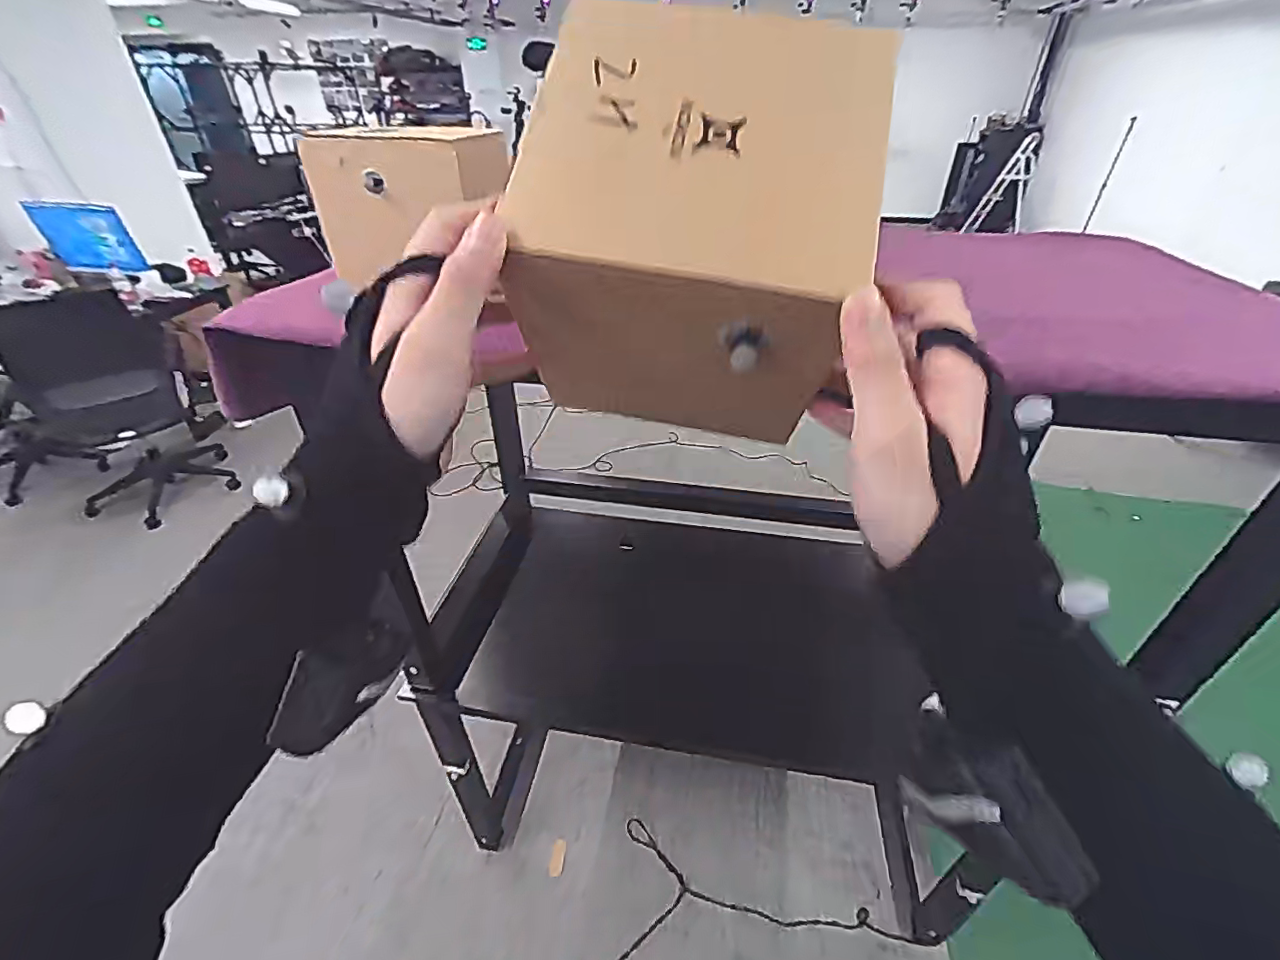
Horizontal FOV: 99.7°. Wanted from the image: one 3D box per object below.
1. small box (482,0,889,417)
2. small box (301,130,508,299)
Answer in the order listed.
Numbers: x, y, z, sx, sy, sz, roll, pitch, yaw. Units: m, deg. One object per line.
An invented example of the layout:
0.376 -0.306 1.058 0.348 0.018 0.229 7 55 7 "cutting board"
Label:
0.031 -0.154 0.342 0.179 0.176 0.168 11 73 7 "small box"
-0.265 -0.331 0.671 0.179 0.176 0.168 5 35 5 "small box"
